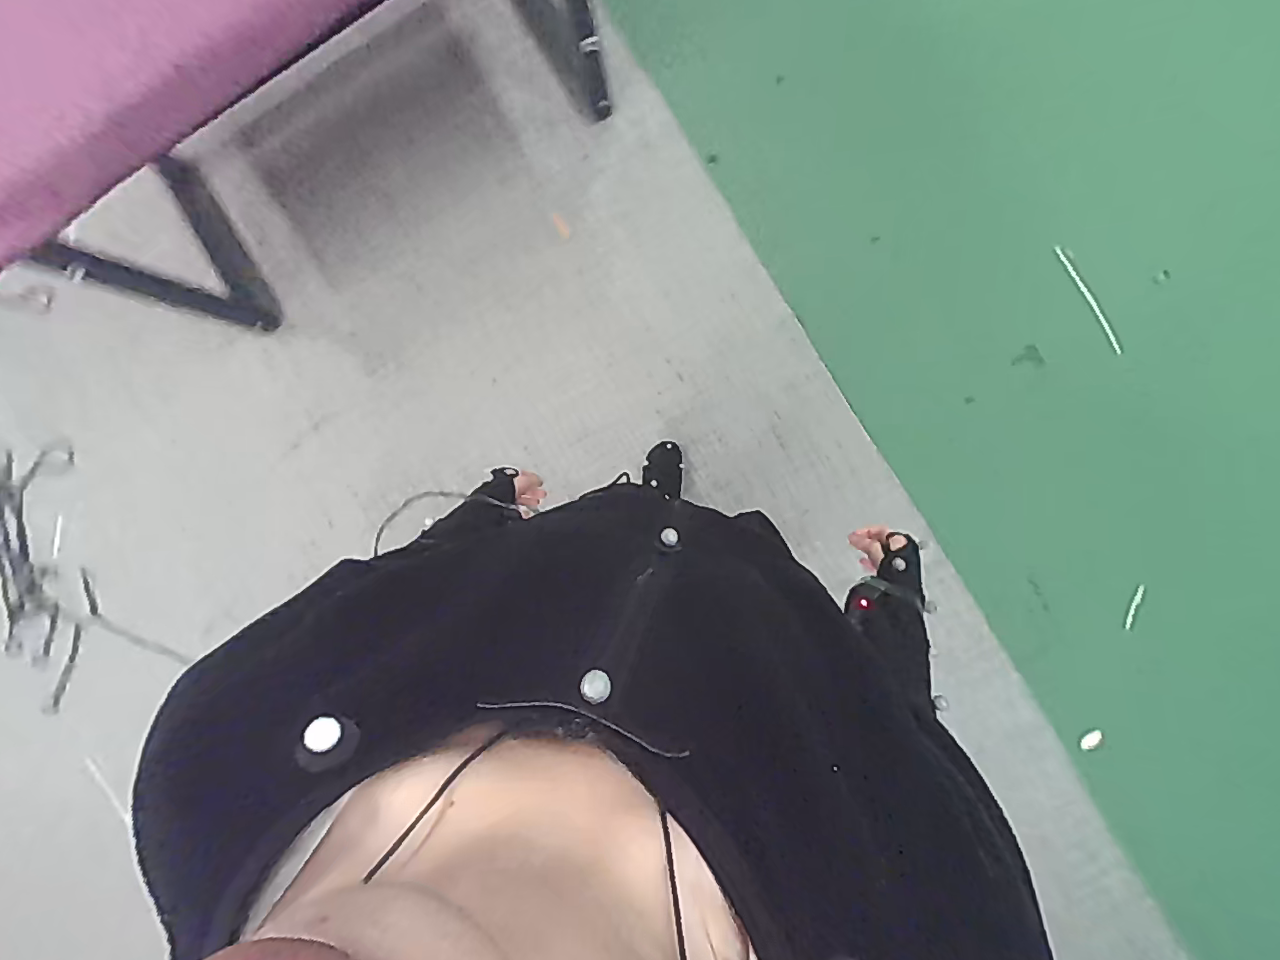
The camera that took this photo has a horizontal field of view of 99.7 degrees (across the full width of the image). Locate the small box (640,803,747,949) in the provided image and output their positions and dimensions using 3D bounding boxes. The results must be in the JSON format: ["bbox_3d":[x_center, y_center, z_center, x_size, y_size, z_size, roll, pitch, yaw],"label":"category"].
[{"bbox_3d":[0.122,0.900,1.248,0.168,0.176,0.179,-43,88,4],"label":"small box"}]
